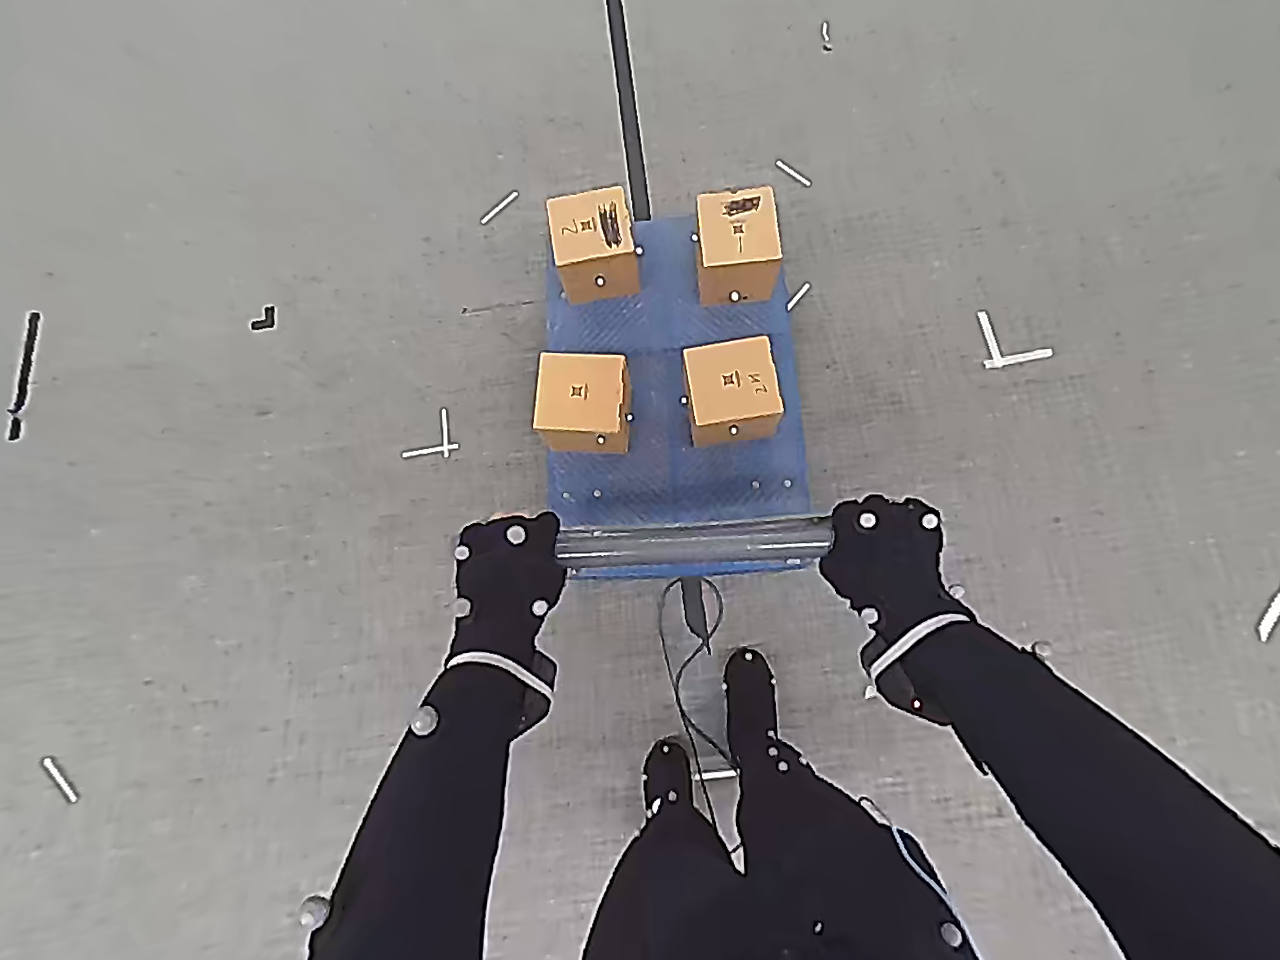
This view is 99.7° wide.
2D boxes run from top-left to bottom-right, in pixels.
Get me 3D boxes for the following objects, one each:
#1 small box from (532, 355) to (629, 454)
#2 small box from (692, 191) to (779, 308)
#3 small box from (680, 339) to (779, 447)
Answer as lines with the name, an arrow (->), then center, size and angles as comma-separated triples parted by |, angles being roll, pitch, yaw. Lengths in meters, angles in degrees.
small box -> -0.121, -0.157, 1.171 | 0.179, 0.176, 0.168 | 2, 78, 3
small box -> 0.208, -0.515, 1.224 | 0.168, 0.176, 0.179 | -5, 79, 3
small box -> 0.184, -0.178, 1.153 | 0.179, 0.176, 0.168 | -9, 78, 2
